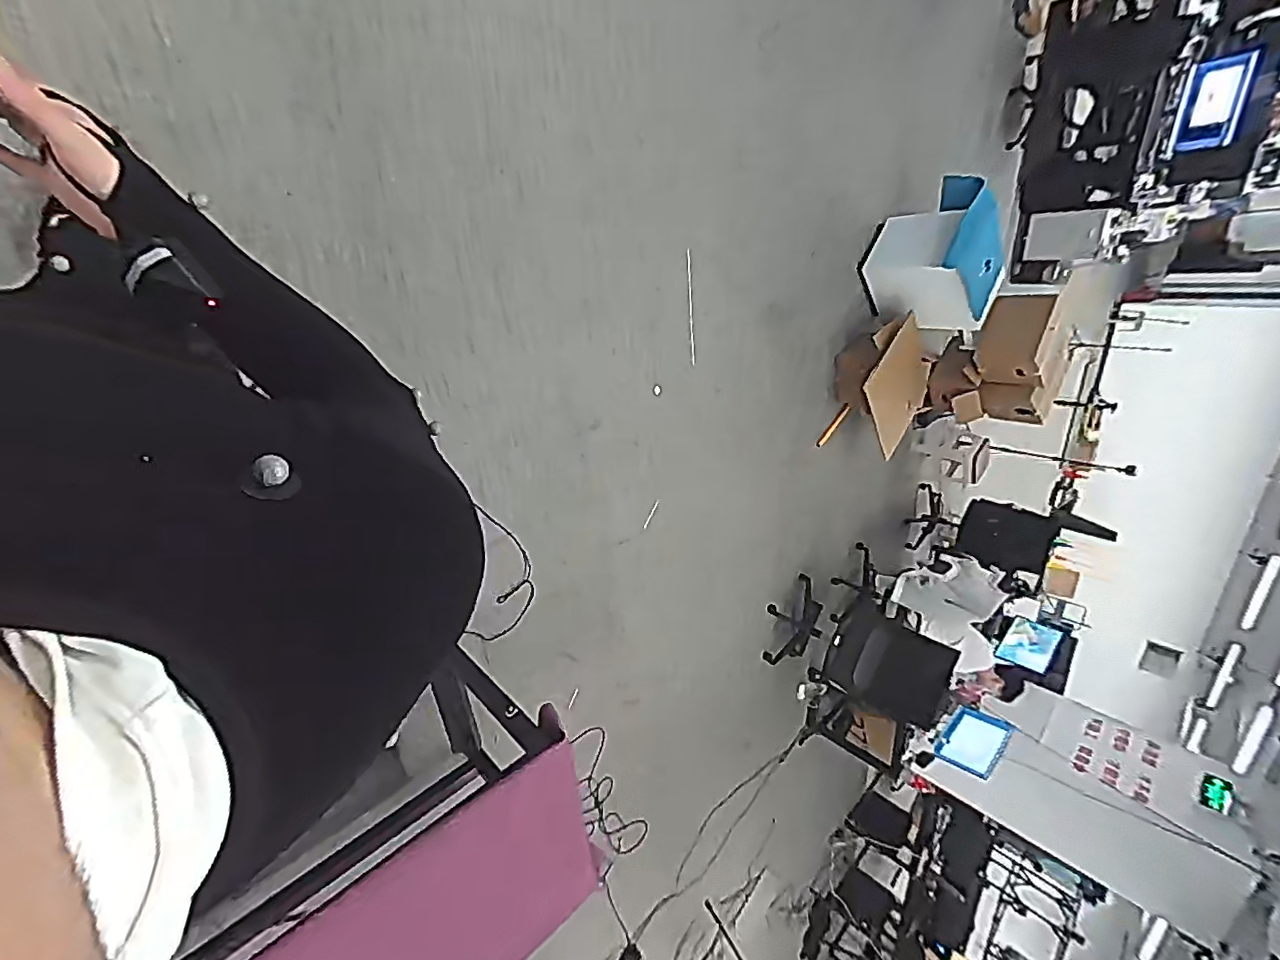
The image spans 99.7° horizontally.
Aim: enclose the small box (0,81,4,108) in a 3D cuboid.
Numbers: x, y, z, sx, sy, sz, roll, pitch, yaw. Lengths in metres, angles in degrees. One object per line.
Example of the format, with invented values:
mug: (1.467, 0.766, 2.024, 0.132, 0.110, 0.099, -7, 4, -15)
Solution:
small box: (-0.542, -0.361, 0.334, 0.168, 0.176, 0.179, -14, 116, -43)
